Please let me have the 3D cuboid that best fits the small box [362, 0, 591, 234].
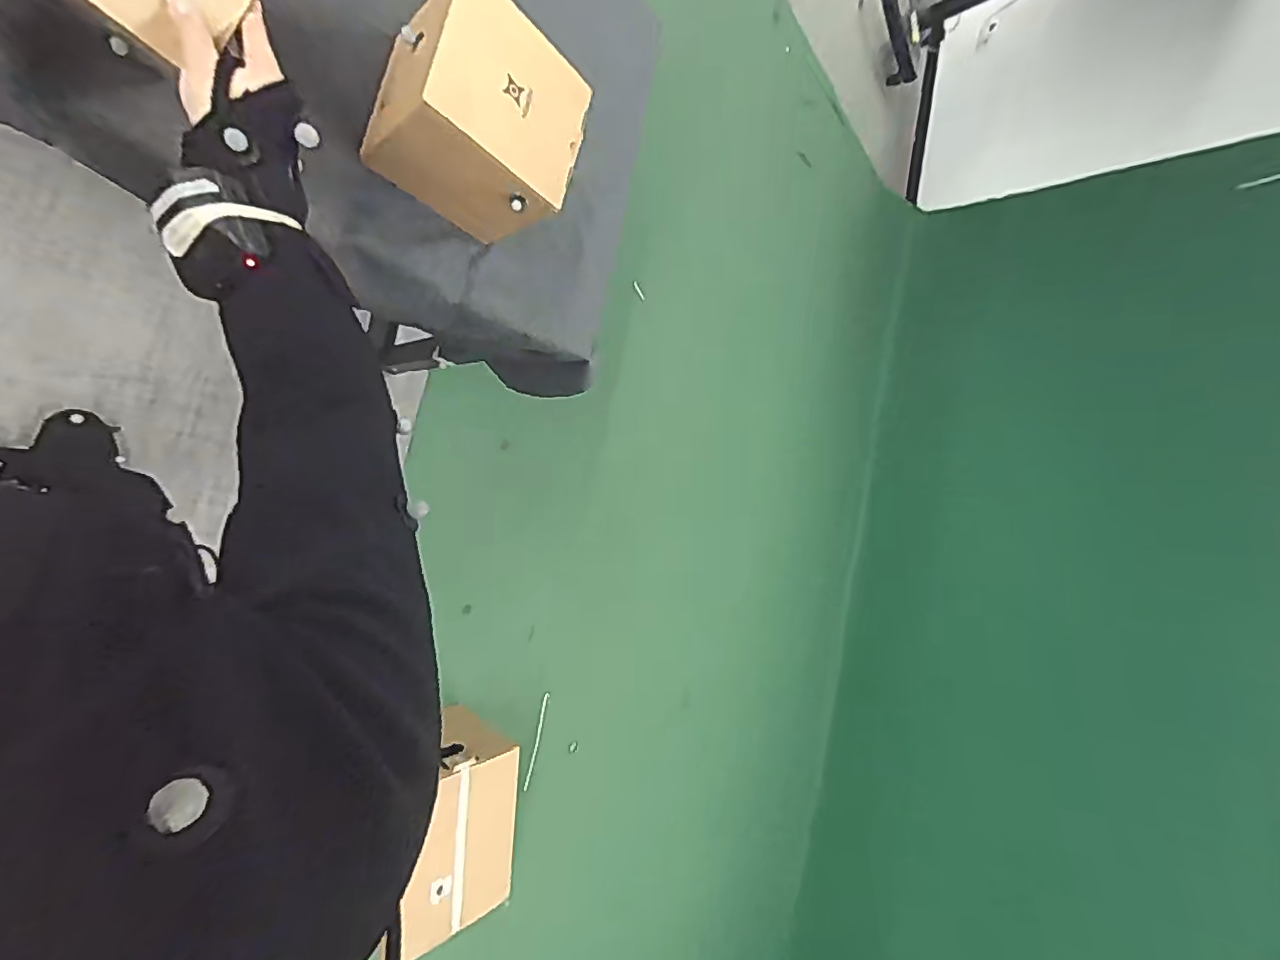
[{"bbox_3d":[-0.190,-0.416,0.627,0.179,0.176,0.168,21,79,-47],"label":"small box"}]
